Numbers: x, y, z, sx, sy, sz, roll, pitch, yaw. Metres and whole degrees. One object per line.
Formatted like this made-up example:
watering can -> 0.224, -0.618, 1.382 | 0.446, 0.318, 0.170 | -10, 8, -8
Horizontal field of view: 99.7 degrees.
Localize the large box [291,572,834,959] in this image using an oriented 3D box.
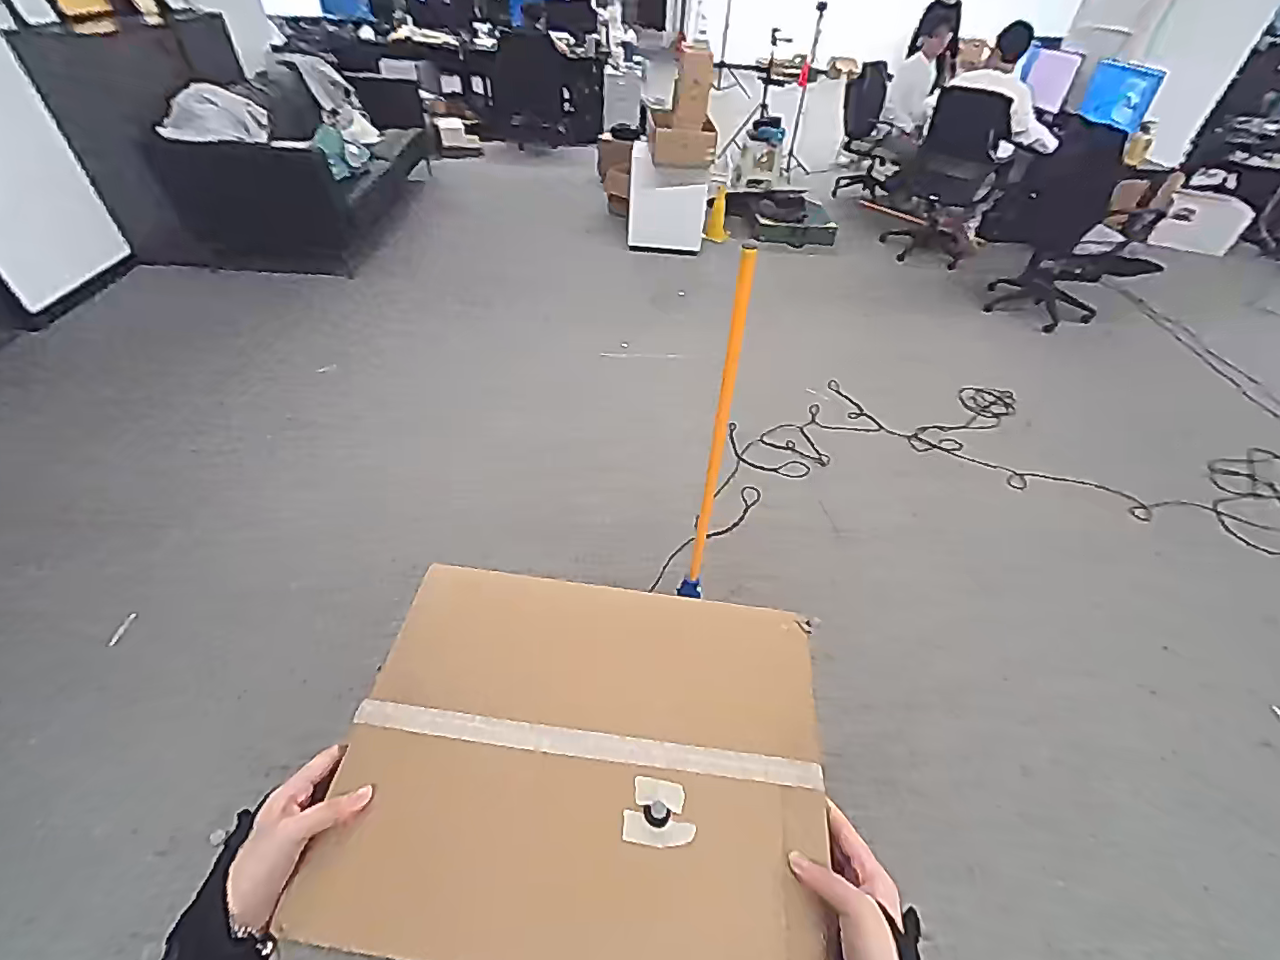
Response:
large box -> -0.052, 0.334, 0.593 | 0.408, 0.320, 0.320 | 8, 49, 2
